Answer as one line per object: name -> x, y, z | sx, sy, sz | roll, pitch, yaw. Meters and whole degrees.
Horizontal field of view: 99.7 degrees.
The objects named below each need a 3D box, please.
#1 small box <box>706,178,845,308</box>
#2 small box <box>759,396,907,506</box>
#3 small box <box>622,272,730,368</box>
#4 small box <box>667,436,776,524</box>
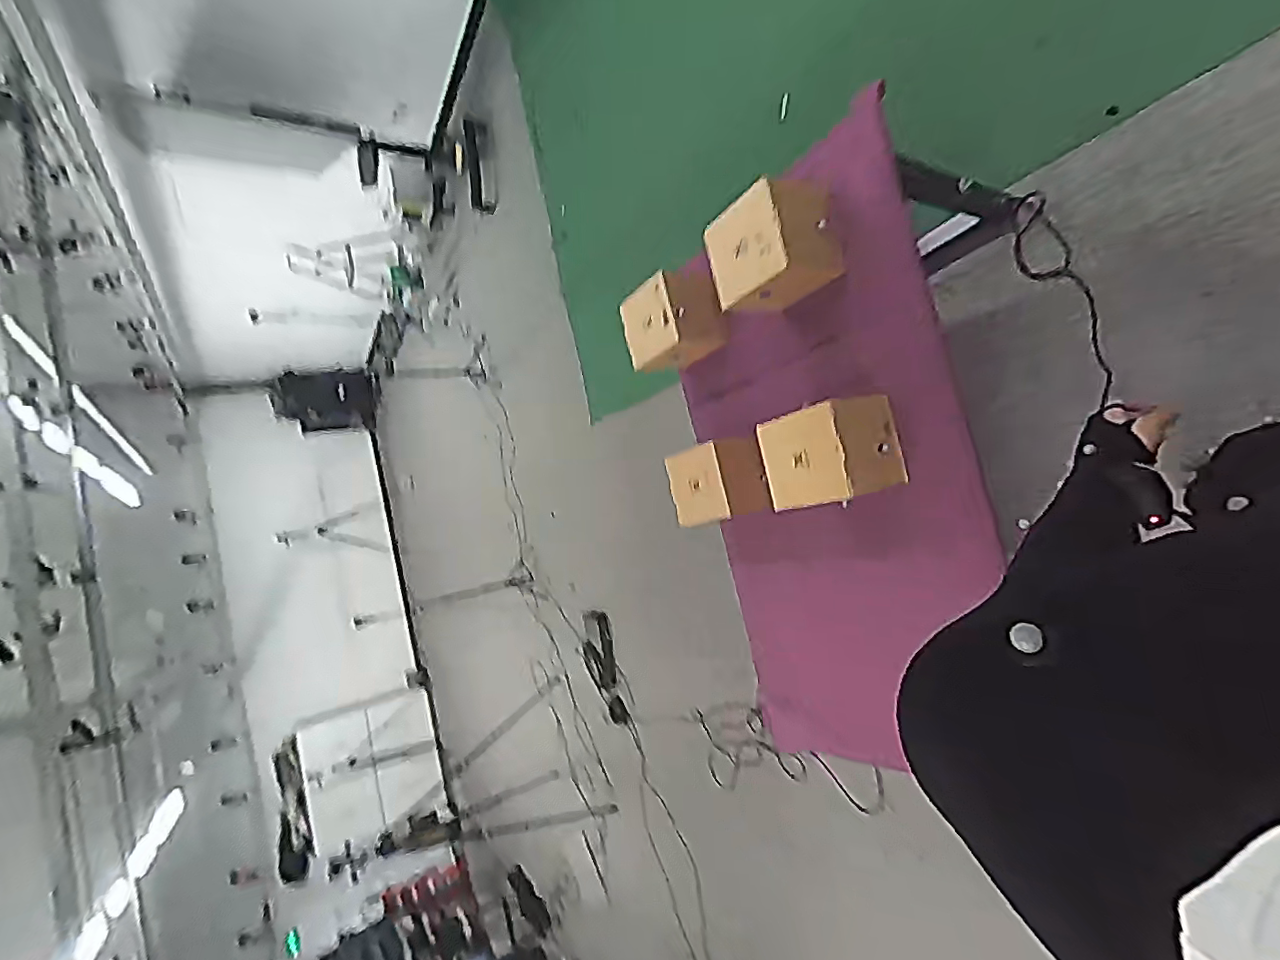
small box -> 0.258, -0.442, 1.043 | 0.179, 0.176, 0.168 | -18, 85, 57
small box -> 0.357, -0.052, 1.007 | 0.179, 0.176, 0.168 | -19, 82, 56
small box -> 0.086, -0.379, 1.307 | 0.179, 0.176, 0.168 | -20, 83, 54
small box -> 0.194, 0.001, 1.255 | 0.179, 0.176, 0.168 | -19, 83, 54
